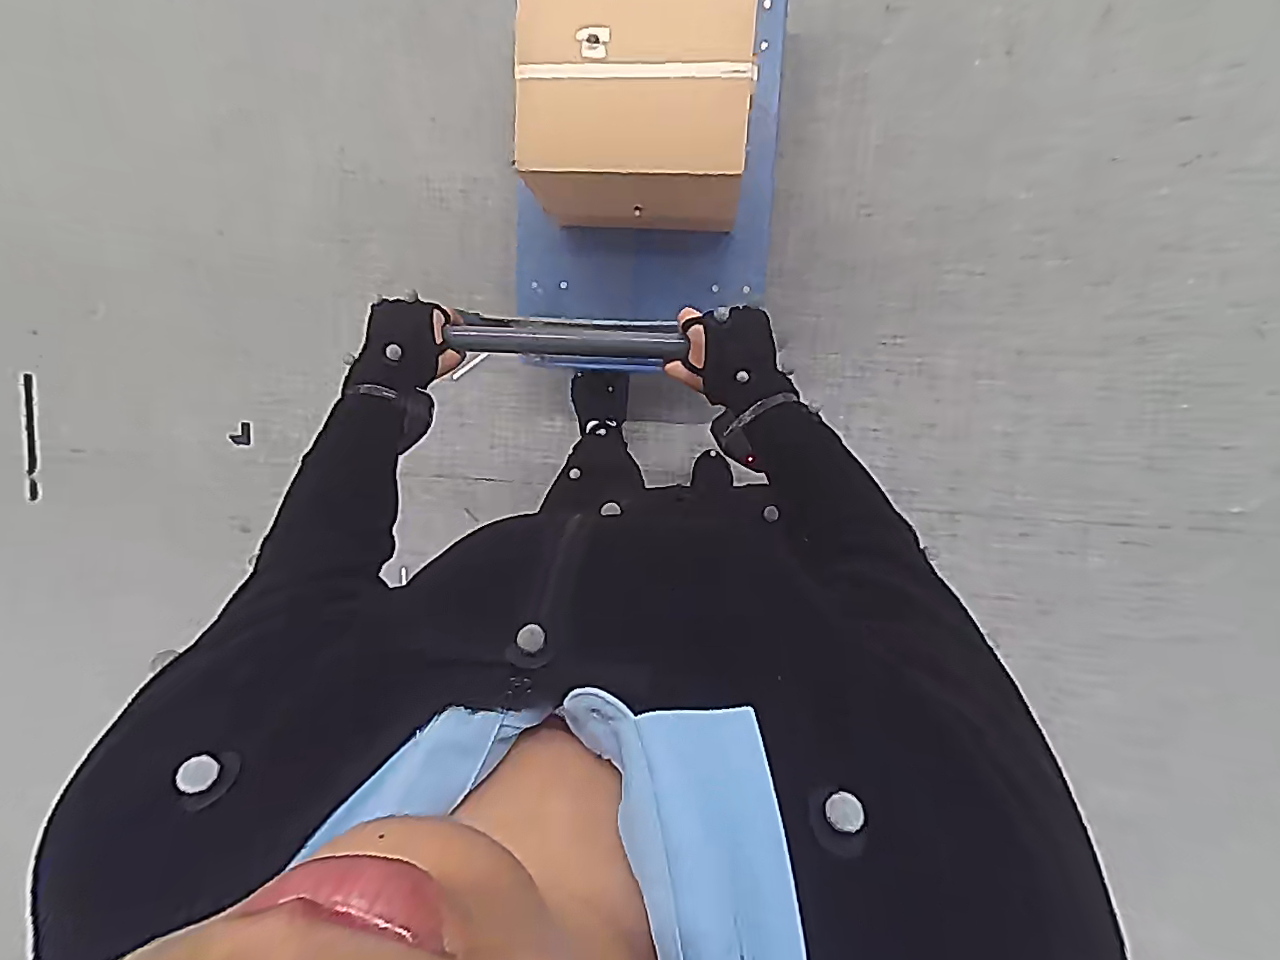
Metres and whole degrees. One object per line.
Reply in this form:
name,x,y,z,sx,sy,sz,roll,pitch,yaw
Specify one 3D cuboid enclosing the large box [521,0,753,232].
large box,0.007,-0.702,1.082,0.408,0.320,0.320,4,97,7
